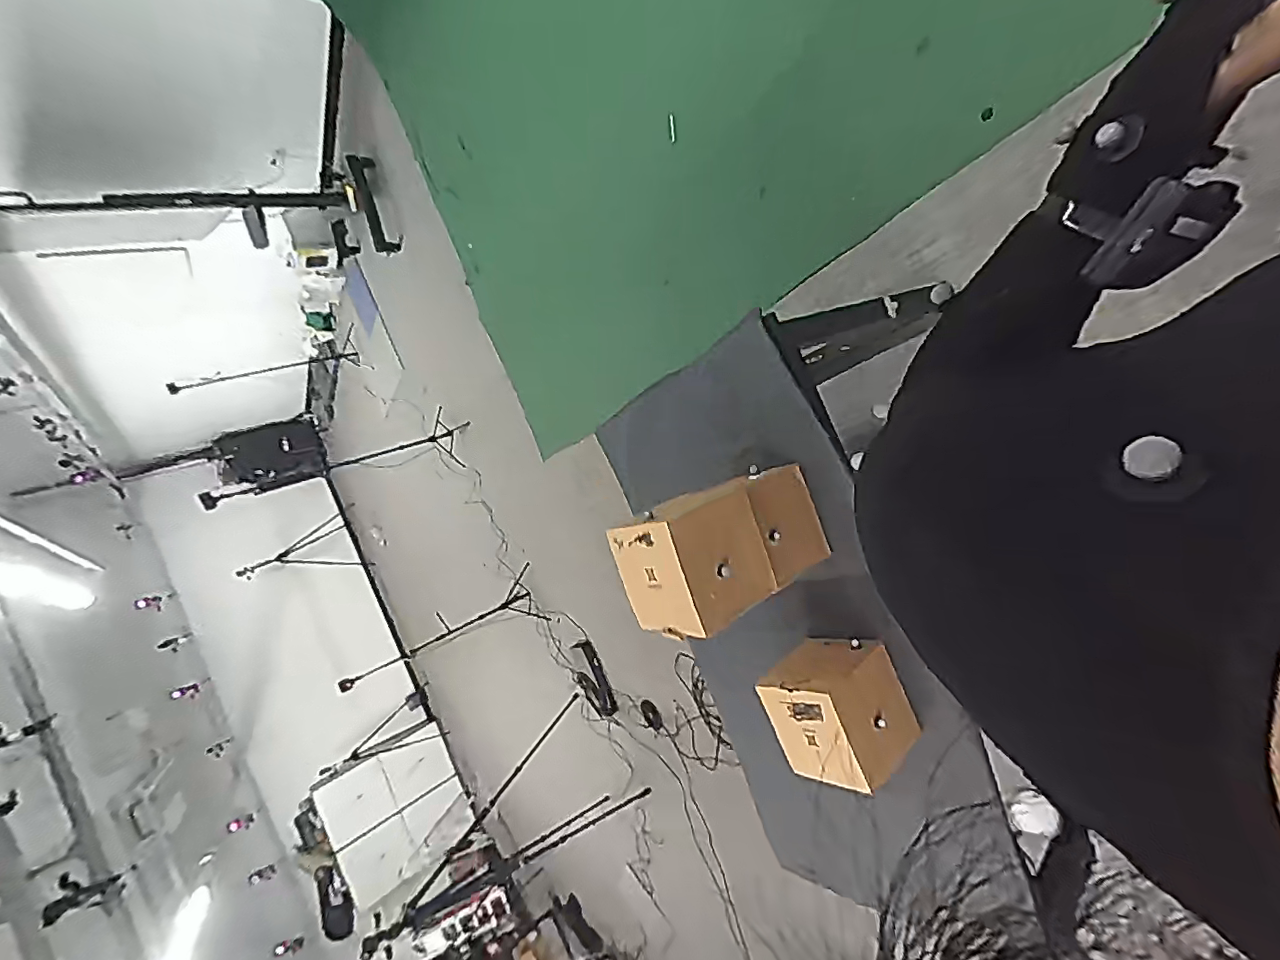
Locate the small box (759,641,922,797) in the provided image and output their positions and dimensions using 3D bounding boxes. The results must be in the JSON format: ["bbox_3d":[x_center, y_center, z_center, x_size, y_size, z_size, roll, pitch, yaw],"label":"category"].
[{"bbox_3d":[0.344,0.393,0.928,0.168,0.176,0.179,-24,91,55],"label":"small box"}]

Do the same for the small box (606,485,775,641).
[{"bbox_3d":[0.081,0.124,0.840,0.168,0.176,0.179,-14,98,54],"label":"small box"}]

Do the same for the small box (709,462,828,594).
[{"bbox_3d":[0.198,0.087,0.950,0.168,0.176,0.179,-19,92,54],"label":"small box"}]
